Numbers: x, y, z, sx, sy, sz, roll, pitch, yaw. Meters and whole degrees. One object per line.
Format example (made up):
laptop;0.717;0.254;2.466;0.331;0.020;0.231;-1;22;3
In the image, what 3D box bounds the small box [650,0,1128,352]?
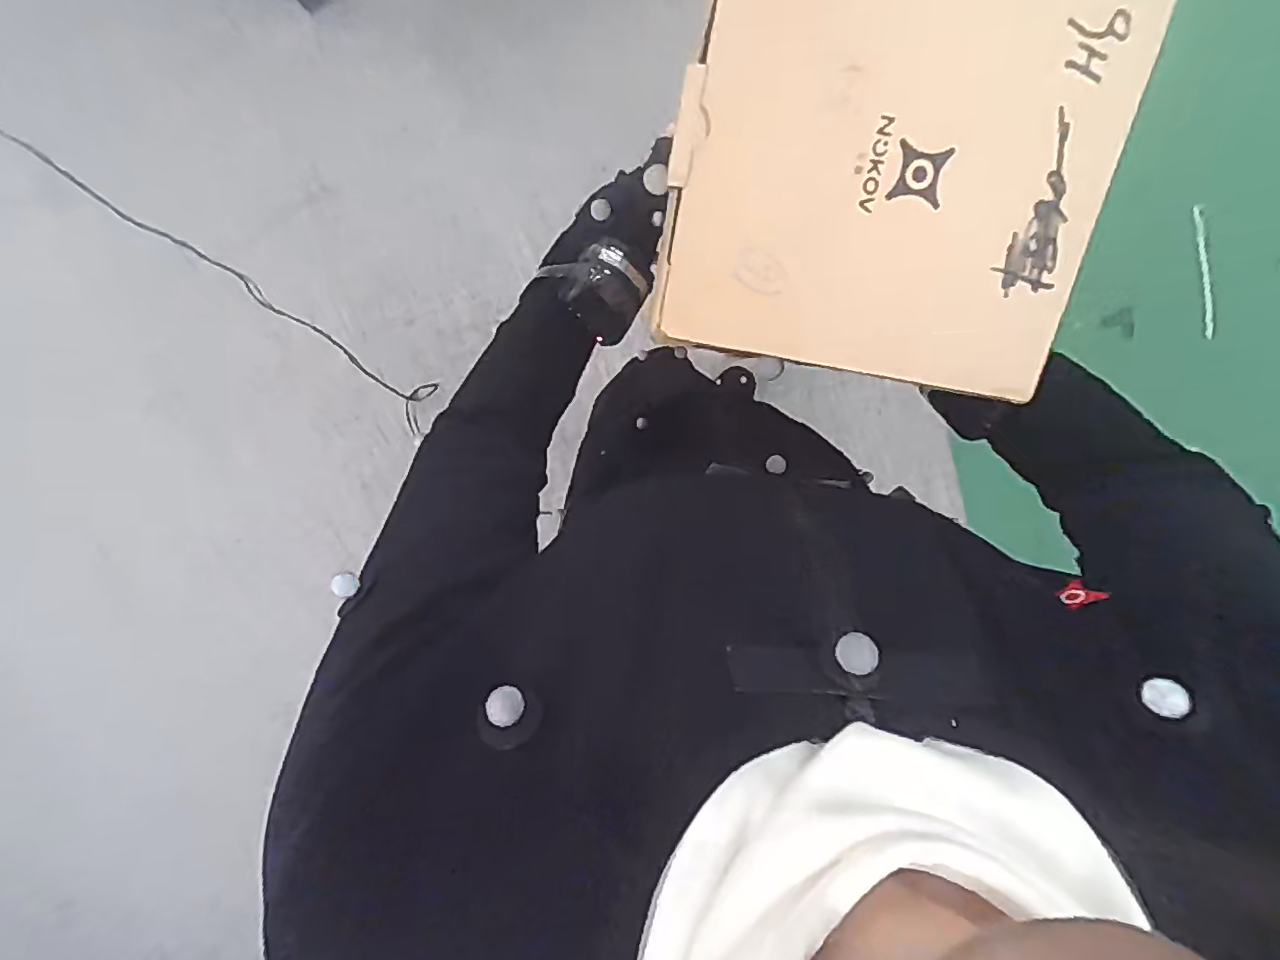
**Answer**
small box;0.101;-0.165;0.301;0.179;0.176;0.168;7;103;-2
